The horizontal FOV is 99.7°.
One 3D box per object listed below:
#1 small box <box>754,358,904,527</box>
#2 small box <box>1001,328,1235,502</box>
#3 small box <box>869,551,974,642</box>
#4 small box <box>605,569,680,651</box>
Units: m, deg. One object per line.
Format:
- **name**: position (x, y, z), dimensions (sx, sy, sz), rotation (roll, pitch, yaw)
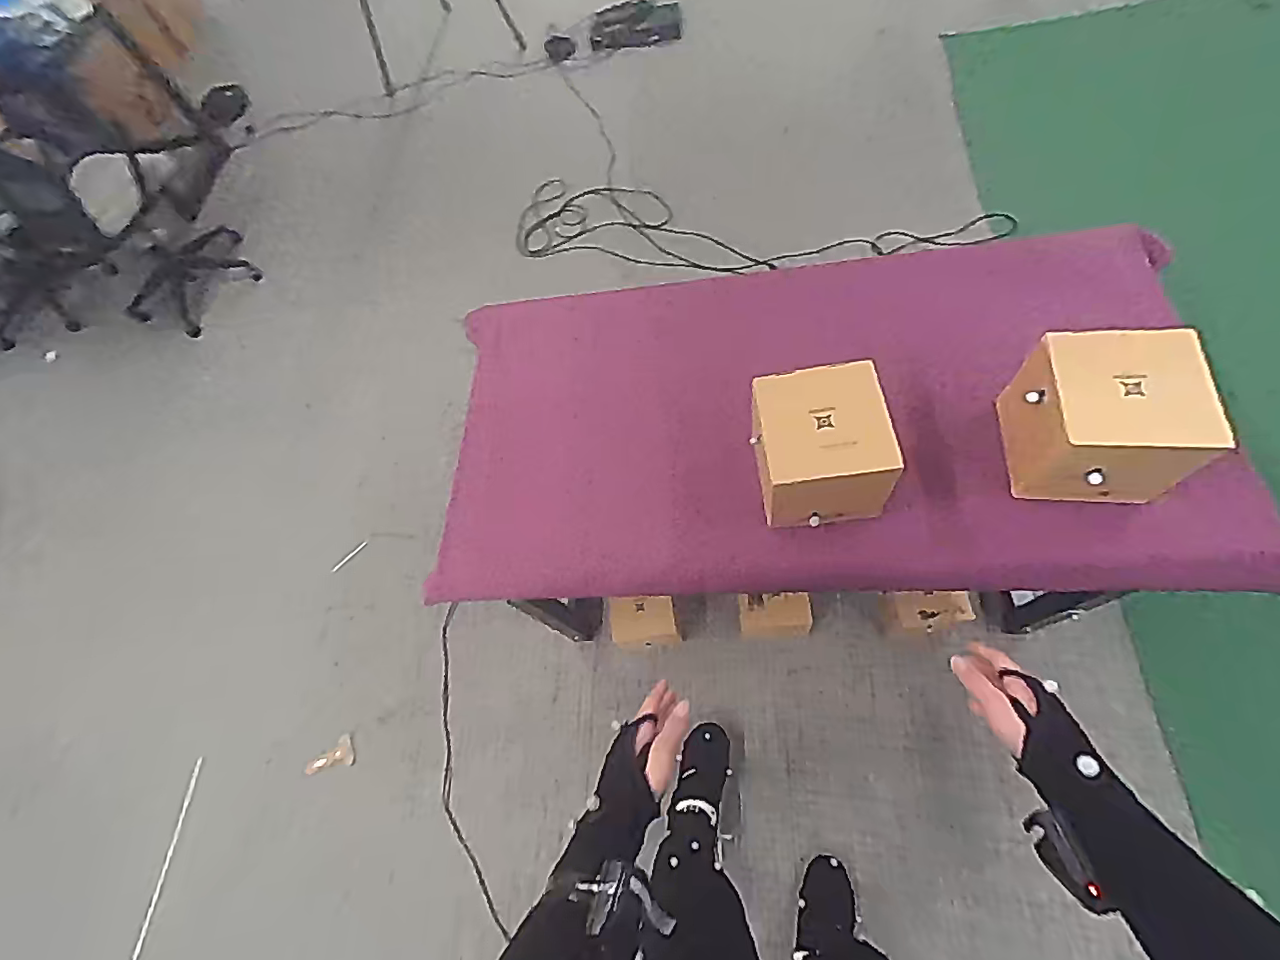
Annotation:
- **small box**: position (0.259, -0.047, 0.787), dimensions (0.168, 0.176, 0.179), rotation (-7, 63, 9)
- **small box**: position (0.619, -0.081, 0.731), dimensions (0.168, 0.176, 0.179), rotation (2, 64, 13)
- **small box**: position (0.691, 0.294, 1.353), dimensions (0.168, 0.176, 0.179), rotation (-9, 63, 7)
- **small box**: position (0.010, 0.358, 1.458), dimensions (0.168, 0.176, 0.179), rotation (-11, 62, 6)
